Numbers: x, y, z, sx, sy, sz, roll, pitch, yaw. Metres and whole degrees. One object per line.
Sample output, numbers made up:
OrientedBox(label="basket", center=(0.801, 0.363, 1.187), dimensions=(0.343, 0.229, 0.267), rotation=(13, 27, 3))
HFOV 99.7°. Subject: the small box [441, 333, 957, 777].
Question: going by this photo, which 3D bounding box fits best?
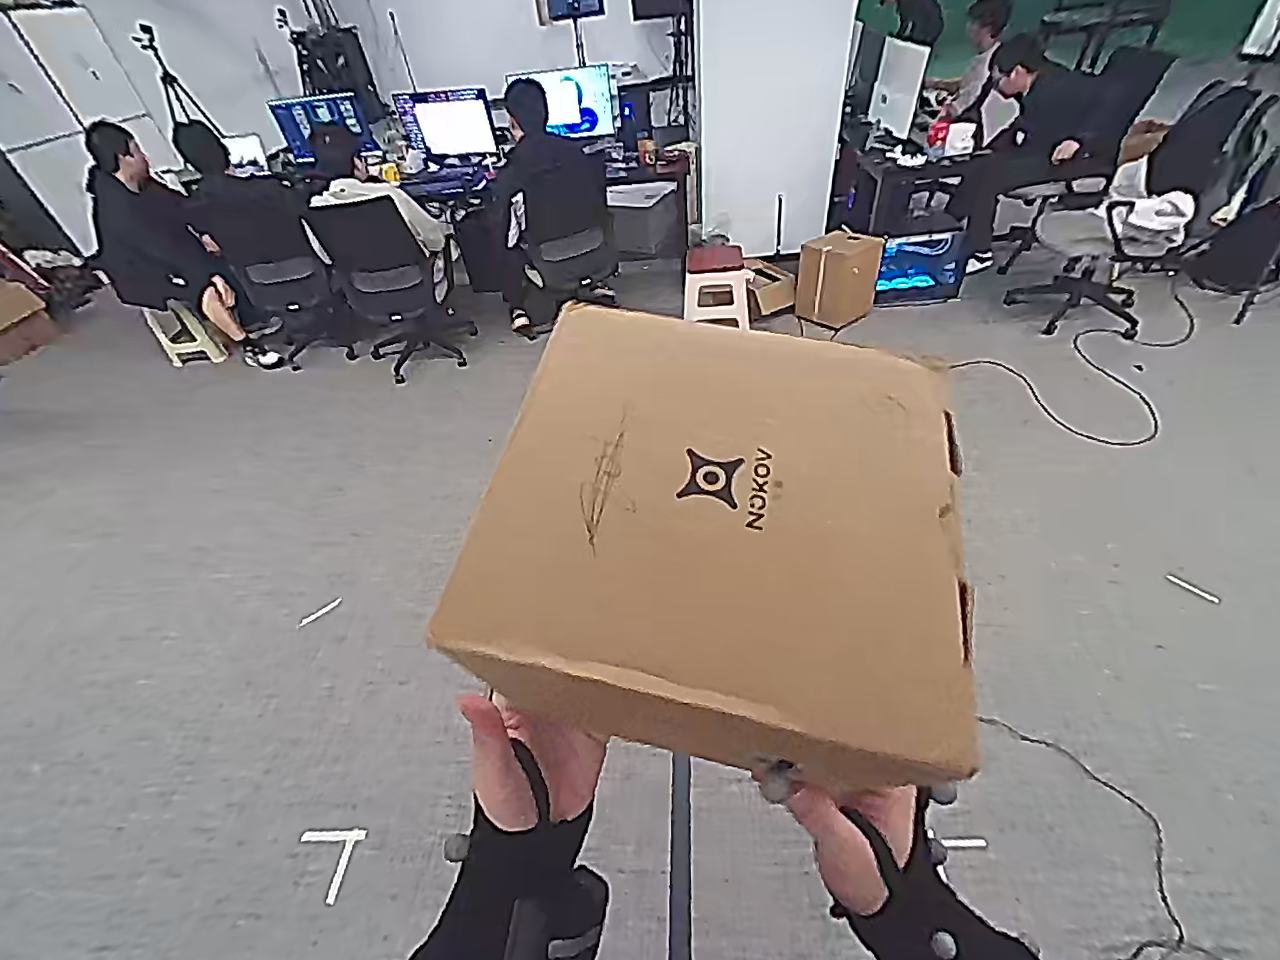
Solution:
OrientedBox(label="small box", center=(0.031, 0.049, 0.287), dimensions=(0.179, 0.176, 0.168), rotation=(8, 58, 7))
